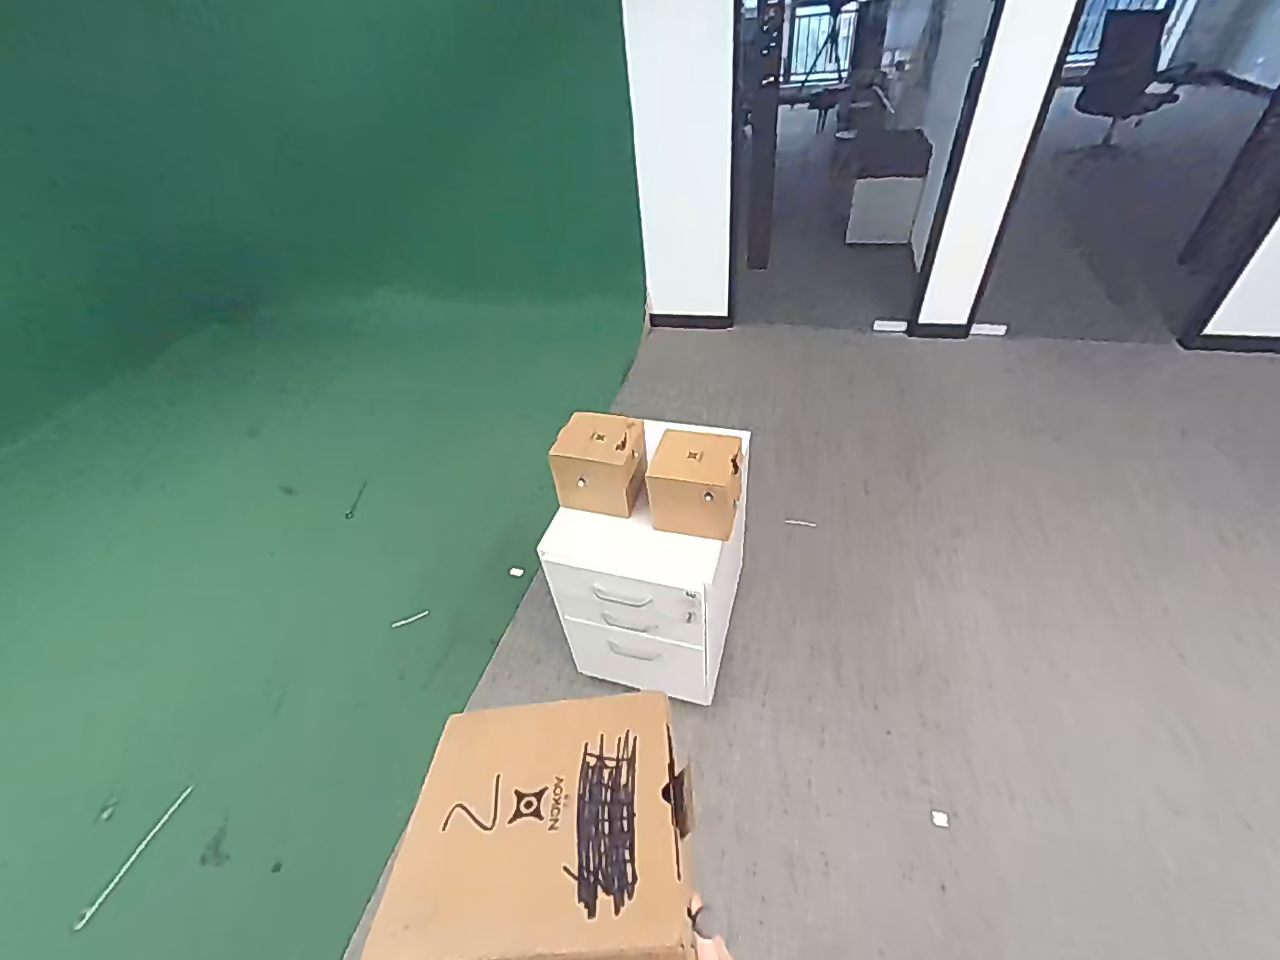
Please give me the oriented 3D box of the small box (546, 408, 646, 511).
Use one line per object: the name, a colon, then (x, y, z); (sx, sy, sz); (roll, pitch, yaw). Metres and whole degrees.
small box: (-0.094, -0.047, 1.259); (0.179, 0.176, 0.168); (8, 46, 15)
